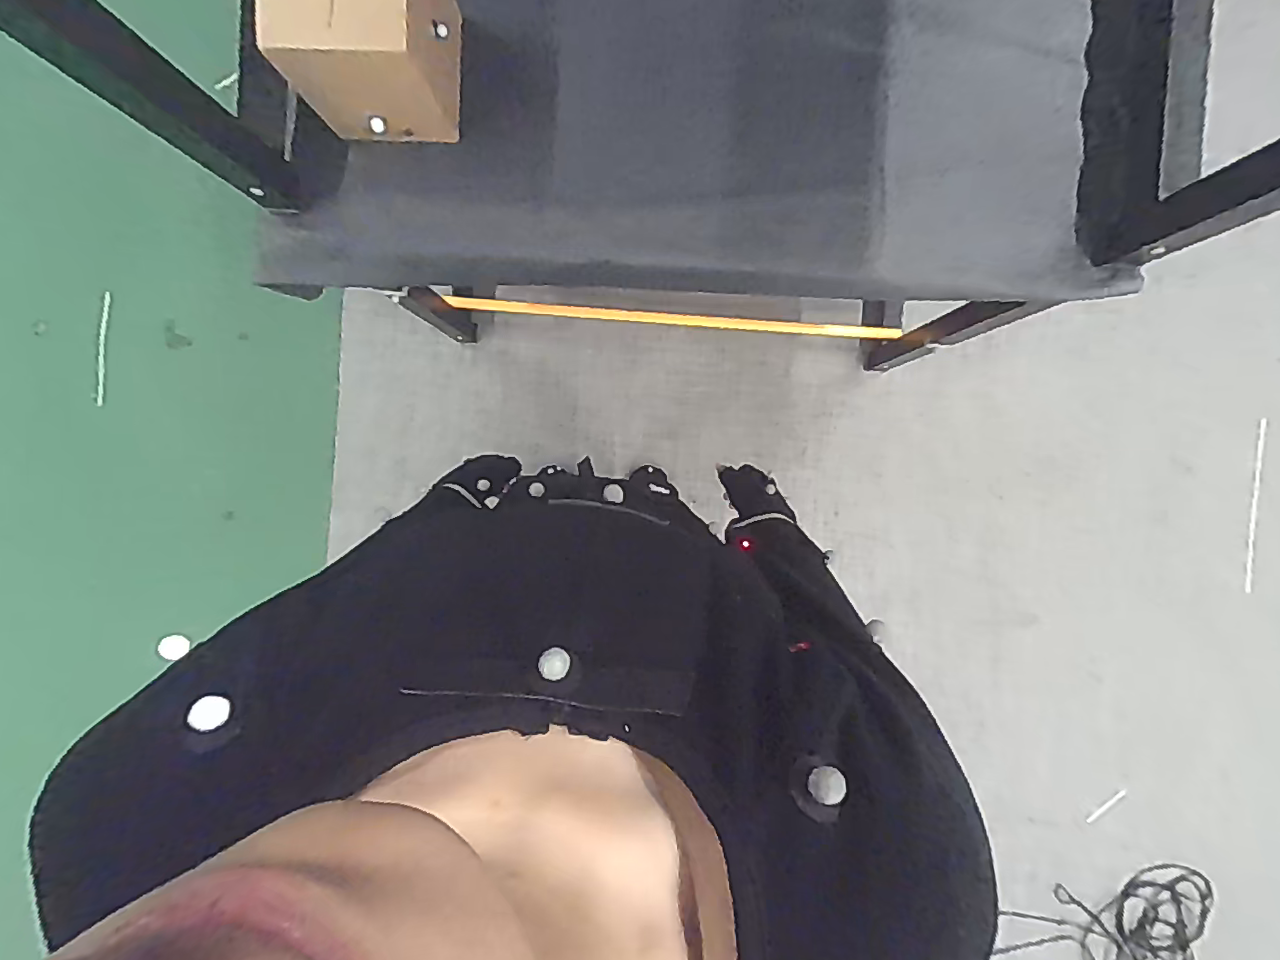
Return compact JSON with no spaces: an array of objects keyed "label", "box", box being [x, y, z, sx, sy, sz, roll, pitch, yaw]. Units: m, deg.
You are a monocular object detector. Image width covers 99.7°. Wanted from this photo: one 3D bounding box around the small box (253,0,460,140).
[{"label":"small box","box":[-0.326,-0.552,0.653,0.168,0.176,0.179,2,92,0]}]
